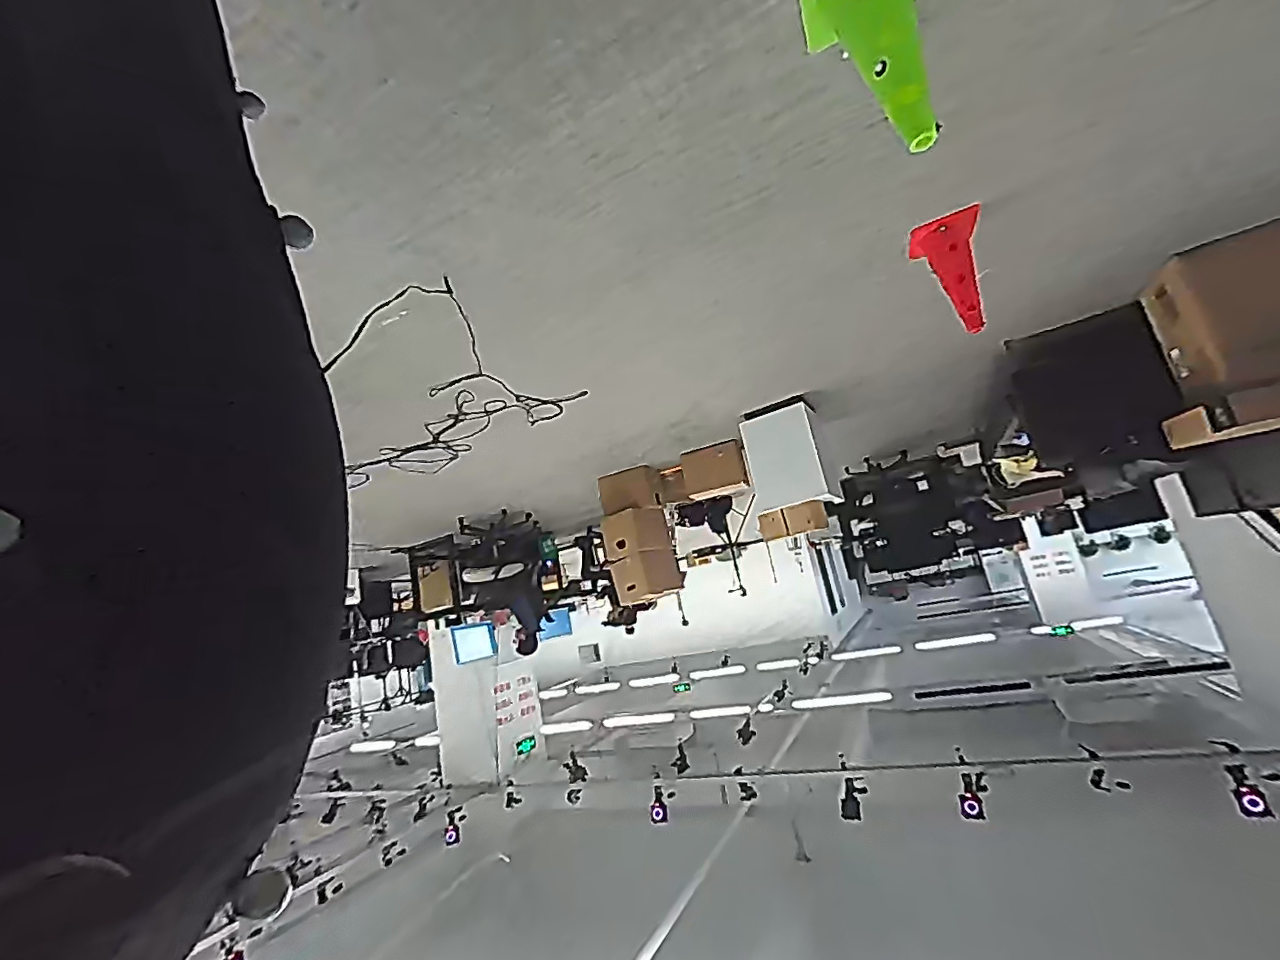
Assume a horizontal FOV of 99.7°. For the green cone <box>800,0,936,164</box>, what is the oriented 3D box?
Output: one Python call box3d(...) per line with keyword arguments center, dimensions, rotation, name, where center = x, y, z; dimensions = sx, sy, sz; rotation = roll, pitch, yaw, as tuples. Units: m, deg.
box3d(center=(0.410, -0.690, 0.892), dimensions=(0.200, 0.368, 0.202), rotation=(-16, 168, 24), name="green cone")
